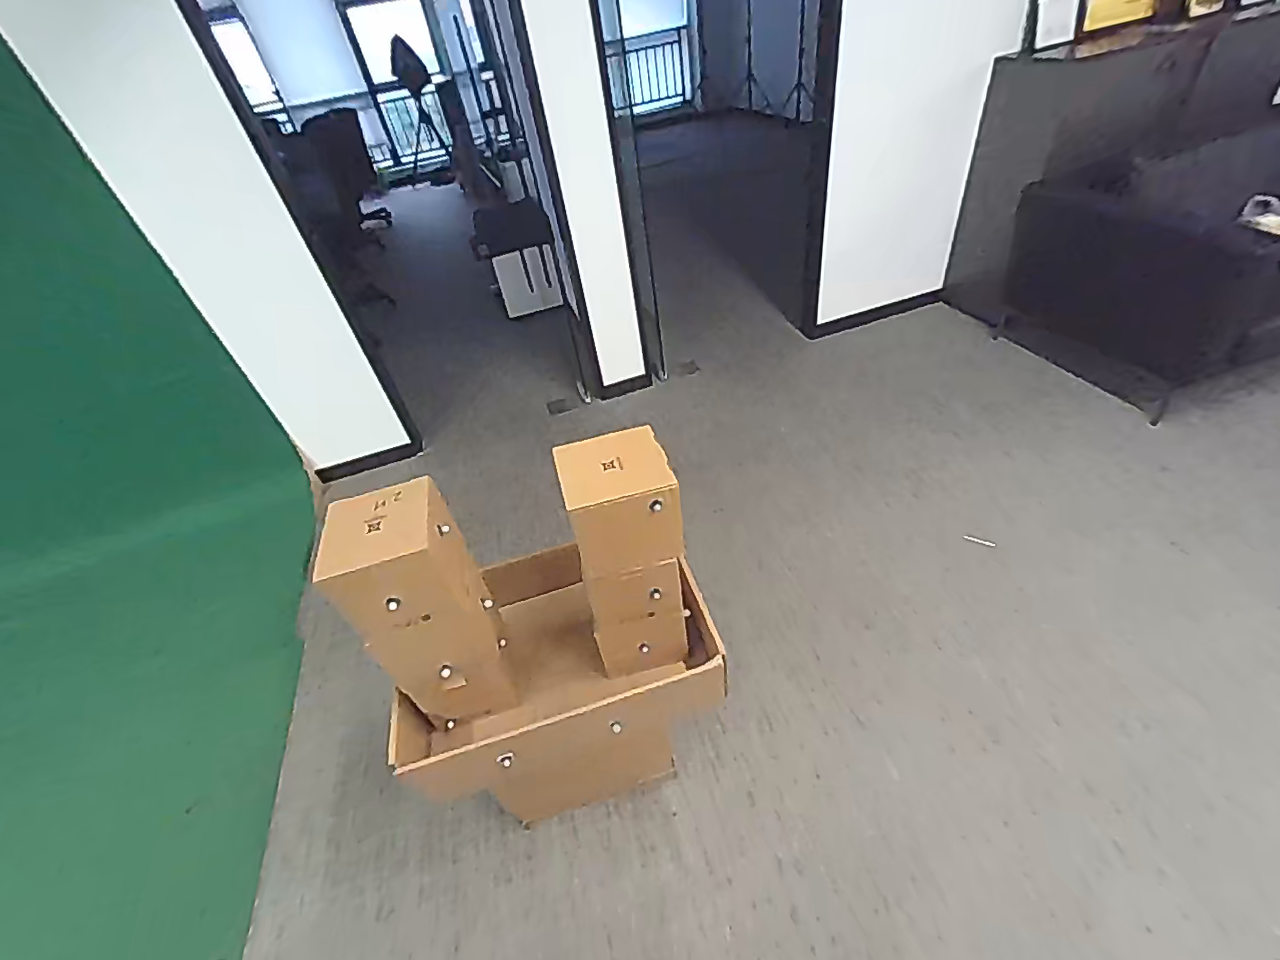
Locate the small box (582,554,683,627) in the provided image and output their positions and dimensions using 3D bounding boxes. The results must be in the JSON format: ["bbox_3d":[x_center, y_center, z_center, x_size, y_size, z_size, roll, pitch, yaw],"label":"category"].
[{"bbox_3d":[-0.019,0.160,1.030,0.168,0.176,0.179,-12,40,-3],"label":"small box"}]

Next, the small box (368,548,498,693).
[{"bbox_3d":[-0.370,0.259,0.996,0.179,0.176,0.168,-18,41,-8],"label":"small box"}]

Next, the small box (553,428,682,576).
[{"bbox_3d":[-0.037,0.039,0.923,0.179,0.176,0.168,-14,41,-7],"label":"small box"}]

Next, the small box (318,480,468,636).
[{"bbox_3d":[-0.392,0.134,0.890,0.168,0.176,0.179,-16,41,-6],"label":"small box"}]
